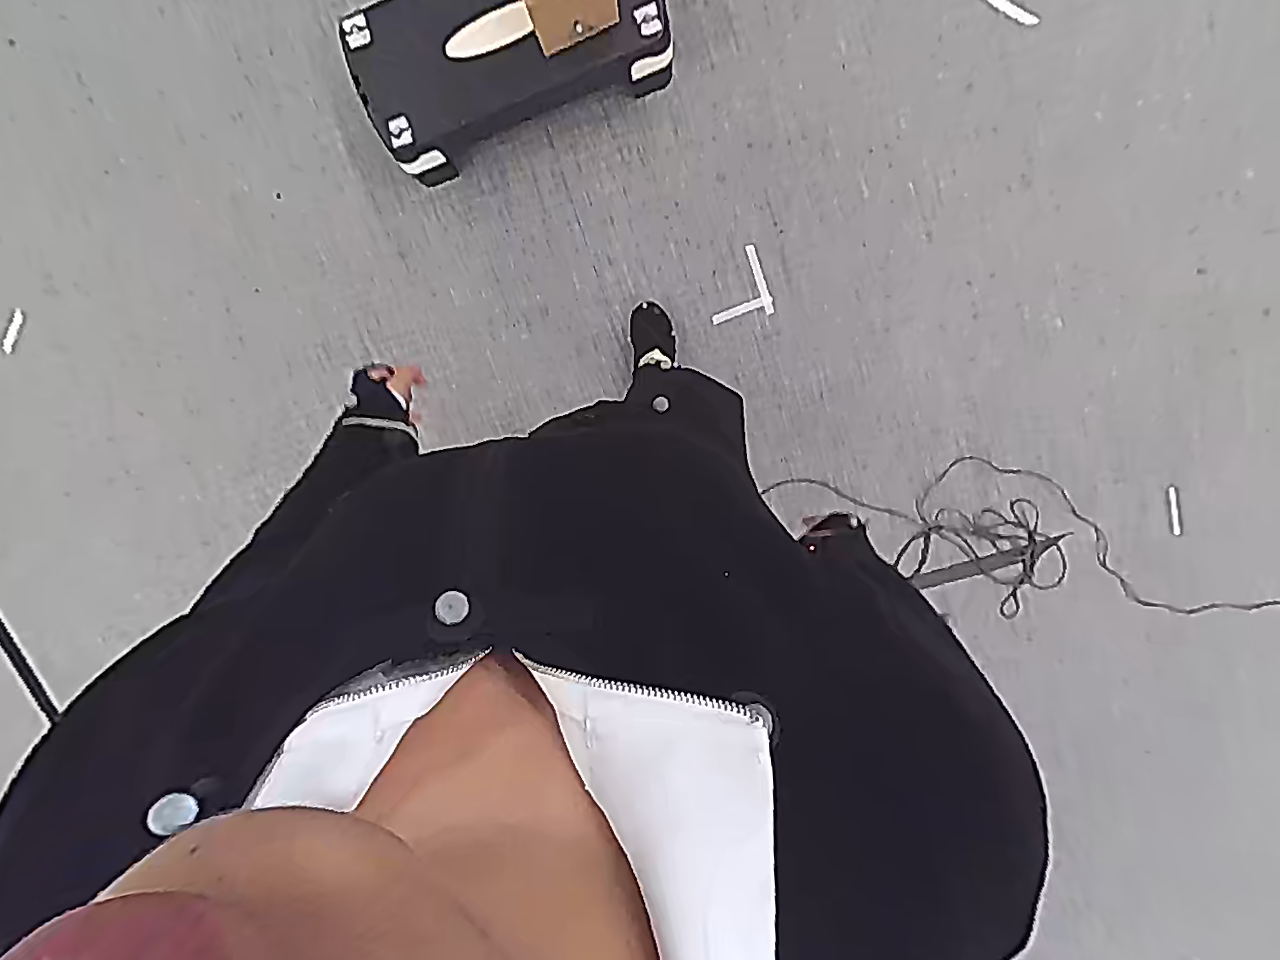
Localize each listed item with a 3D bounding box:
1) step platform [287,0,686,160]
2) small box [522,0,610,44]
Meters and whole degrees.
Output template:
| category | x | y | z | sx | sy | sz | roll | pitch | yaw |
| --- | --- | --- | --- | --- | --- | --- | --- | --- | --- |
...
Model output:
| category | x | y | z | sx | sy | sz | roll | pitch | yaw |
| --- | --- | --- | --- | --- | --- | --- | --- | --- | --- |
| step platform | -0.265 | -0.871 | 0.994 | 0.684 | 0.204 | 0.286 | -20 | 100 | 5 |
| small box | -0.153 | -0.956 | 1.009 | 0.168 | 0.176 | 0.179 | -20 | 101 | 6 |
